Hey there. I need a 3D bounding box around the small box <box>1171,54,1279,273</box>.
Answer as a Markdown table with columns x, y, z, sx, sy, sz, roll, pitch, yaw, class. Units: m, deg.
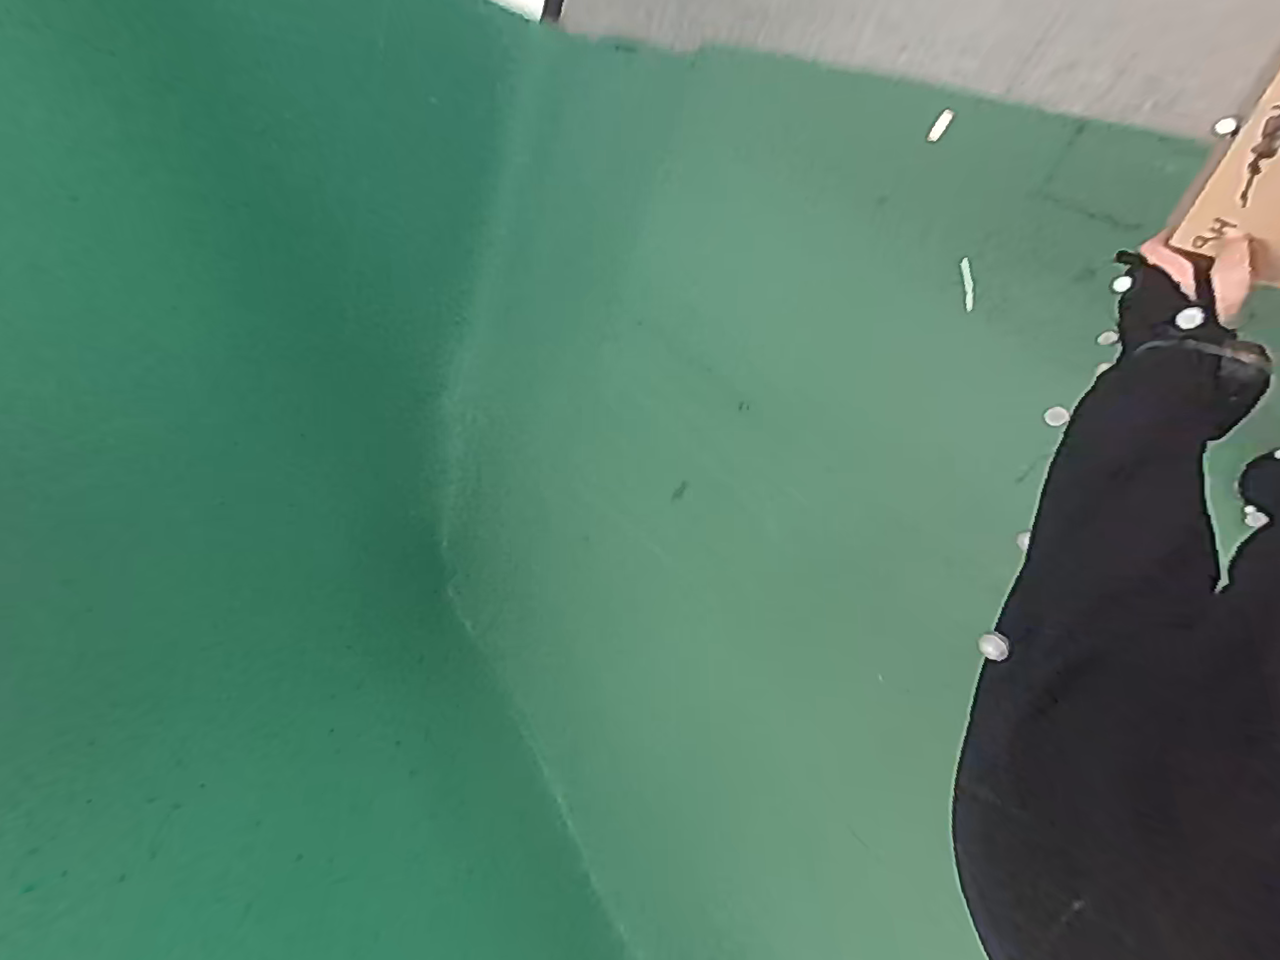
| x | y | z | sx | sy | sz | roll | pitch | yaw | class |
| --- | --- | --- | --- | --- | --- | --- | --- | --- | --- |
| 0.583 | -0.262 | 0.429 | 0.179 | 0.176 | 0.168 | 30 | 135 | 27 | small box |
